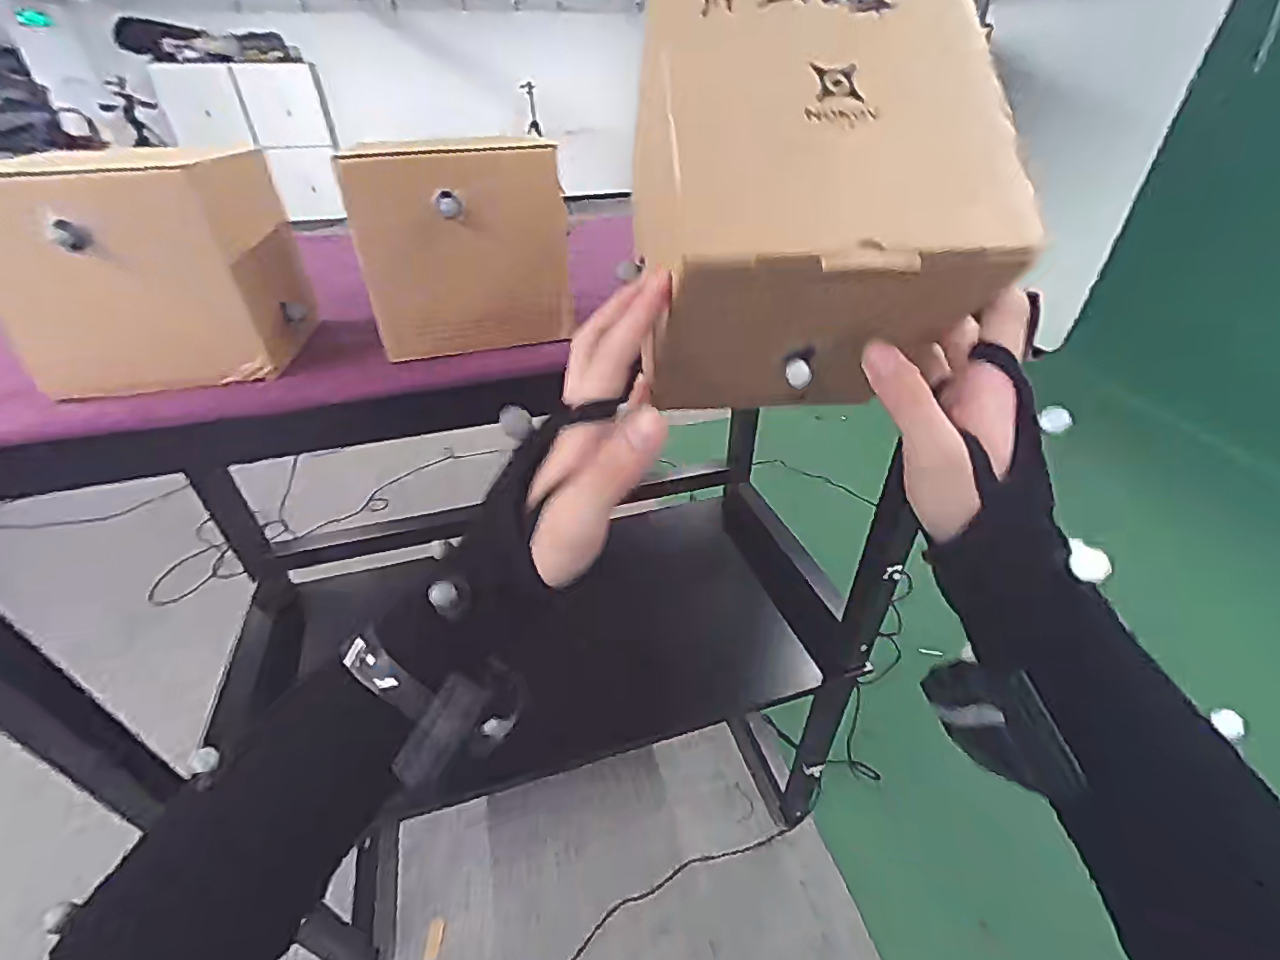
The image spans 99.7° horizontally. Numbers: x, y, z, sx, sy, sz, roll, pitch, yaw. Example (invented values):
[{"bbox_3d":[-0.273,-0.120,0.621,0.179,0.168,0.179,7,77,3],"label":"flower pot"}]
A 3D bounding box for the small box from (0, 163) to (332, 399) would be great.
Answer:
[{"bbox_3d":[-0.416,-0.182,0.491,0.179,0.176,0.168,-8,35,-10],"label":"small box"}]

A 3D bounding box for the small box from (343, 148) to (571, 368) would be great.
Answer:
[{"bbox_3d":[-0.170,-0.229,0.549,0.179,0.176,0.168,-12,36,-12],"label":"small box"}]

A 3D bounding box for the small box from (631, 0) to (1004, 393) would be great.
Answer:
[{"bbox_3d":[0.084,-0.164,0.352,0.168,0.176,0.179,-3,74,-6],"label":"small box"}]
